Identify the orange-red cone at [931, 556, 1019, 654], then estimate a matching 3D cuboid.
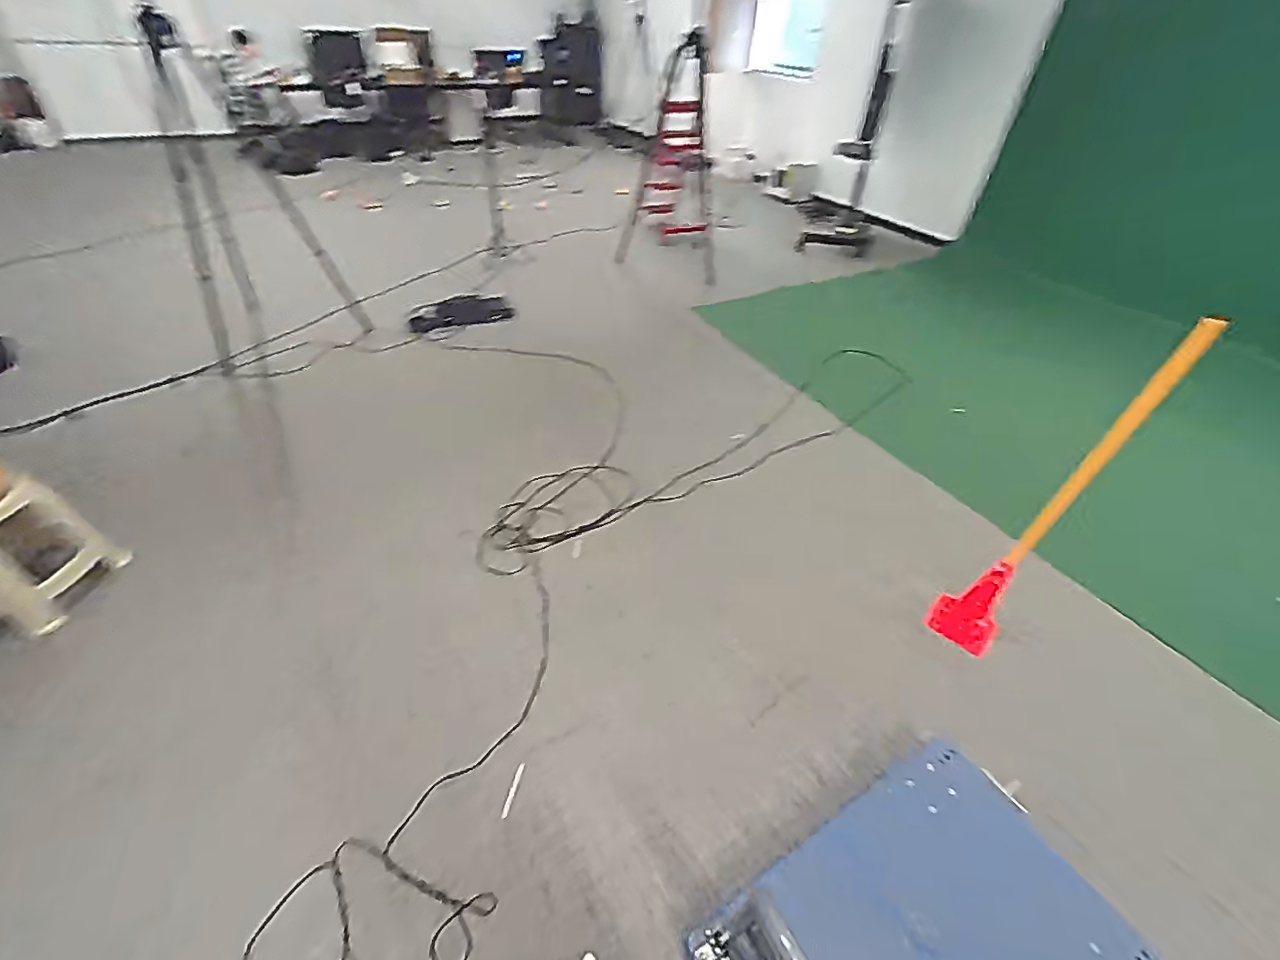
[{"bbox_3d":[1.187,0.389,1.849,0.199,0.360,0.198,34,49,31],"label":"orange-red cone"}]
